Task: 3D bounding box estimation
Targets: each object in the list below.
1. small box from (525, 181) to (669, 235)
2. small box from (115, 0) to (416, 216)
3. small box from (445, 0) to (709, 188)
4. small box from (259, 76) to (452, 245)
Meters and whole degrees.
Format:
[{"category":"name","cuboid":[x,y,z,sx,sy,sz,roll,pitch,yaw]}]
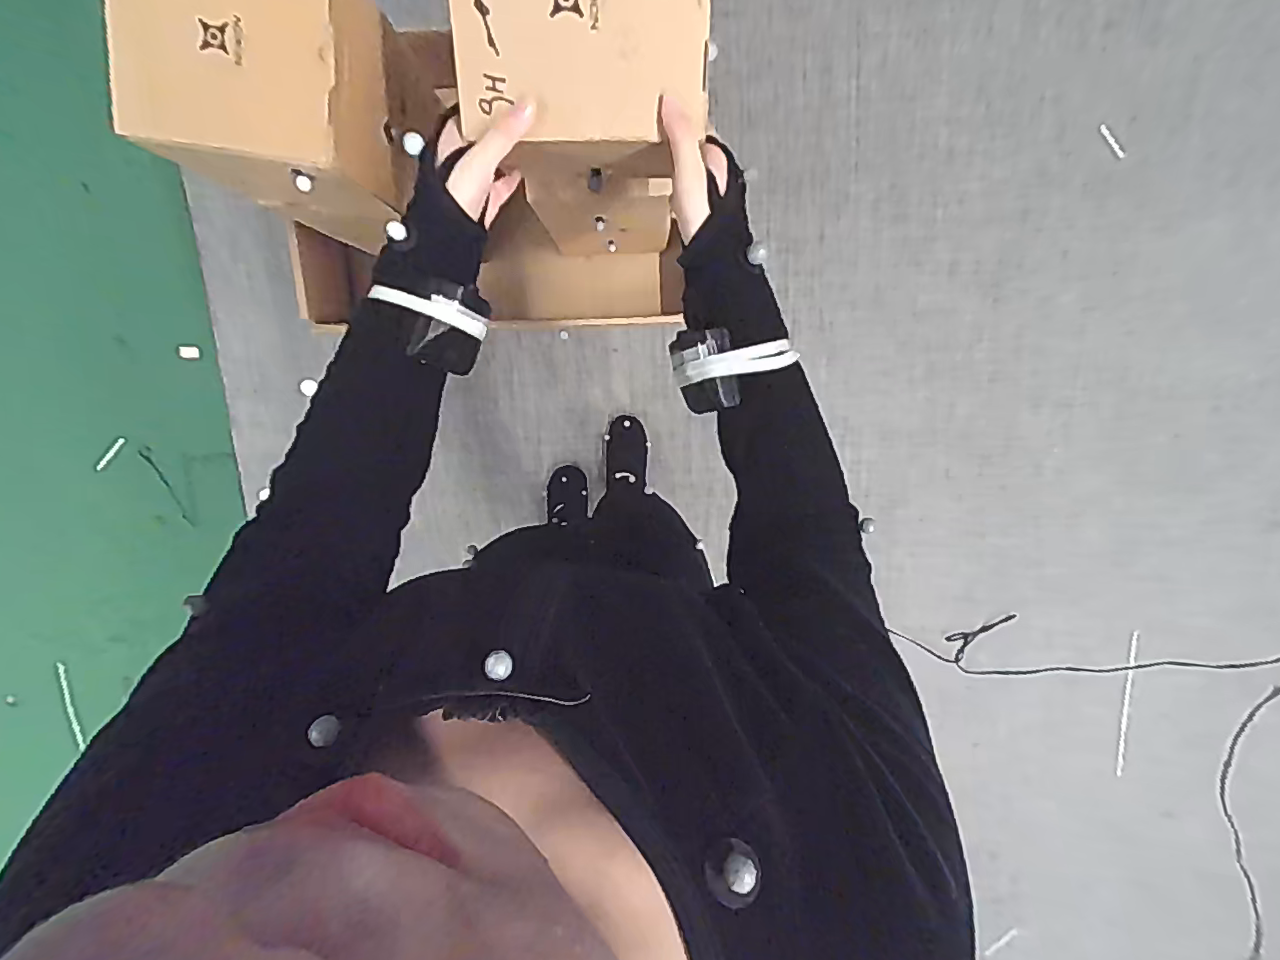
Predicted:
[{"category":"small box","cuboid":[-0.046,-0.411,0.667,0.168,0.176,0.179,0,101,0]},{"category":"small box","cuboid":[-0.336,-0.368,0.514,0.179,0.176,0.168,7,101,-4]},{"category":"small box","cuboid":[-0.044,-0.339,0.430,0.179,0.176,0.168,1,110,-2]},{"category":"small box","cuboid":[-0.342,-0.404,0.672,0.168,0.176,0.179,4,101,-2]}]
